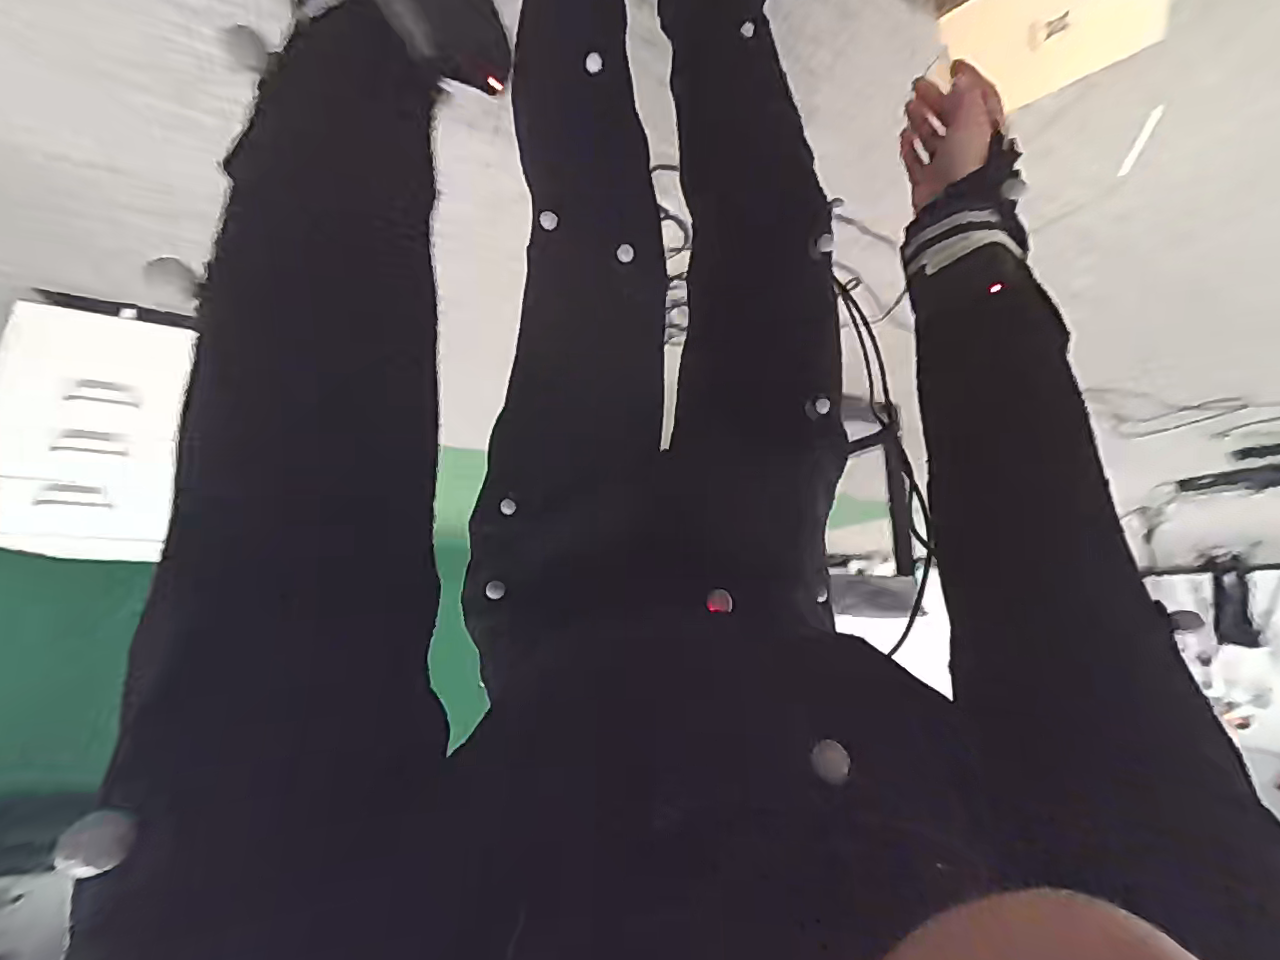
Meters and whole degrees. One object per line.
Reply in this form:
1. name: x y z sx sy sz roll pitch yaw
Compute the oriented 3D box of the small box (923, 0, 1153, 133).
1. small box: 0.401 -0.526 0.562 0.179 0.176 0.168 -10 163 39
